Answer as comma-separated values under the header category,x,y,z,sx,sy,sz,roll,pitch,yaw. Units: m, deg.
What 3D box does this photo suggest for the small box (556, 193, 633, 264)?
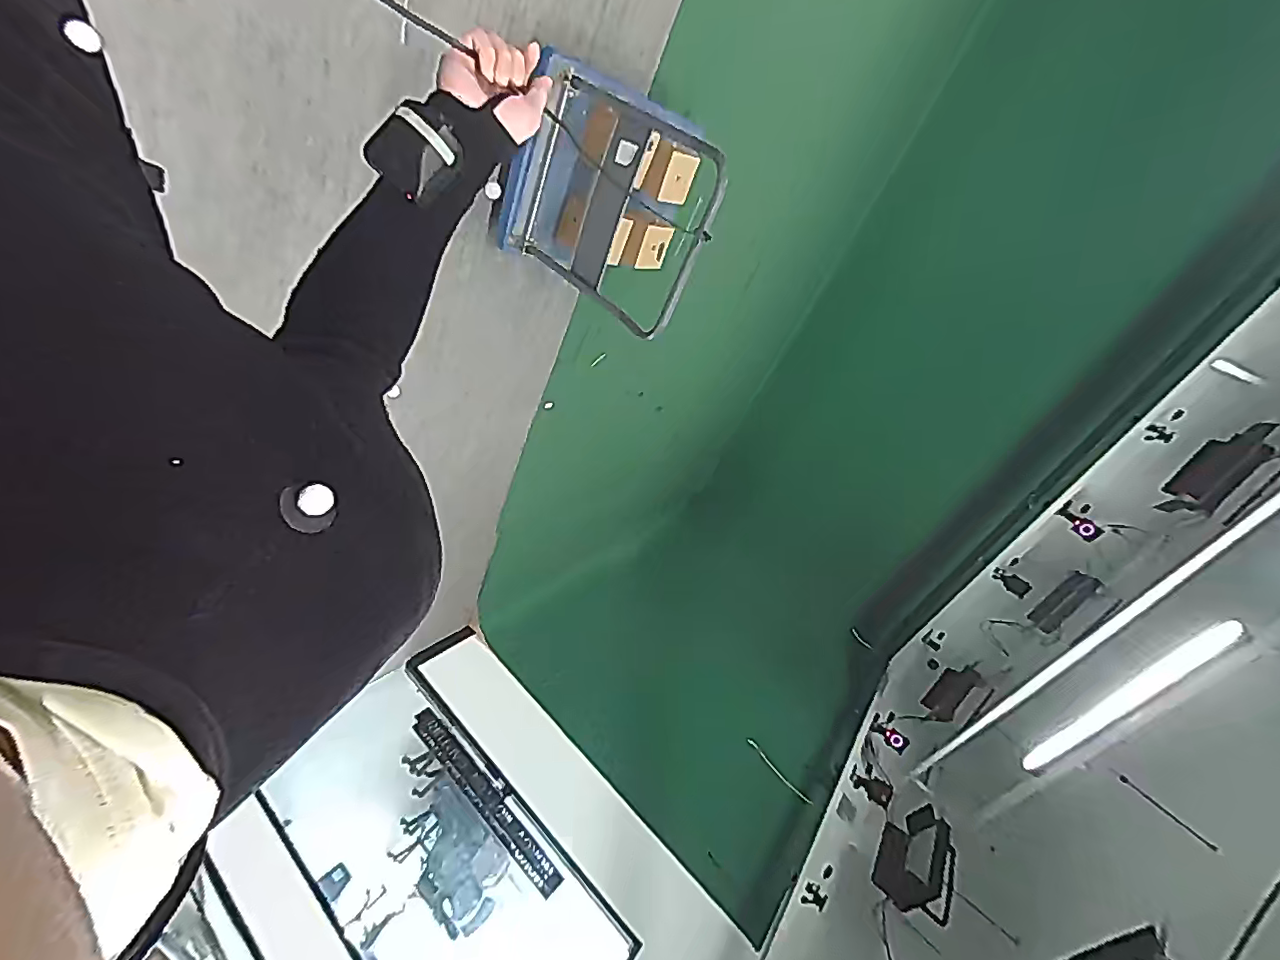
category,x,y,z,sx,sy,sz,roll,pitch,yaw
small box,-0.163,-0.890,1.915,0.179,0.176,0.168,-20,144,-51

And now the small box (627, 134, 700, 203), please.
category,x,y,z,sx,sy,sz,roll,pitch,yaw
small box,0.081,-1.140,1.979,0.179,0.176,0.168,-25,148,-48

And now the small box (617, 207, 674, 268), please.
category,x,y,z,sx,sy,sz,roll,pitch,yaw
small box,-0.003,-0.952,2.124,0.179,0.176,0.168,-24,146,-47
